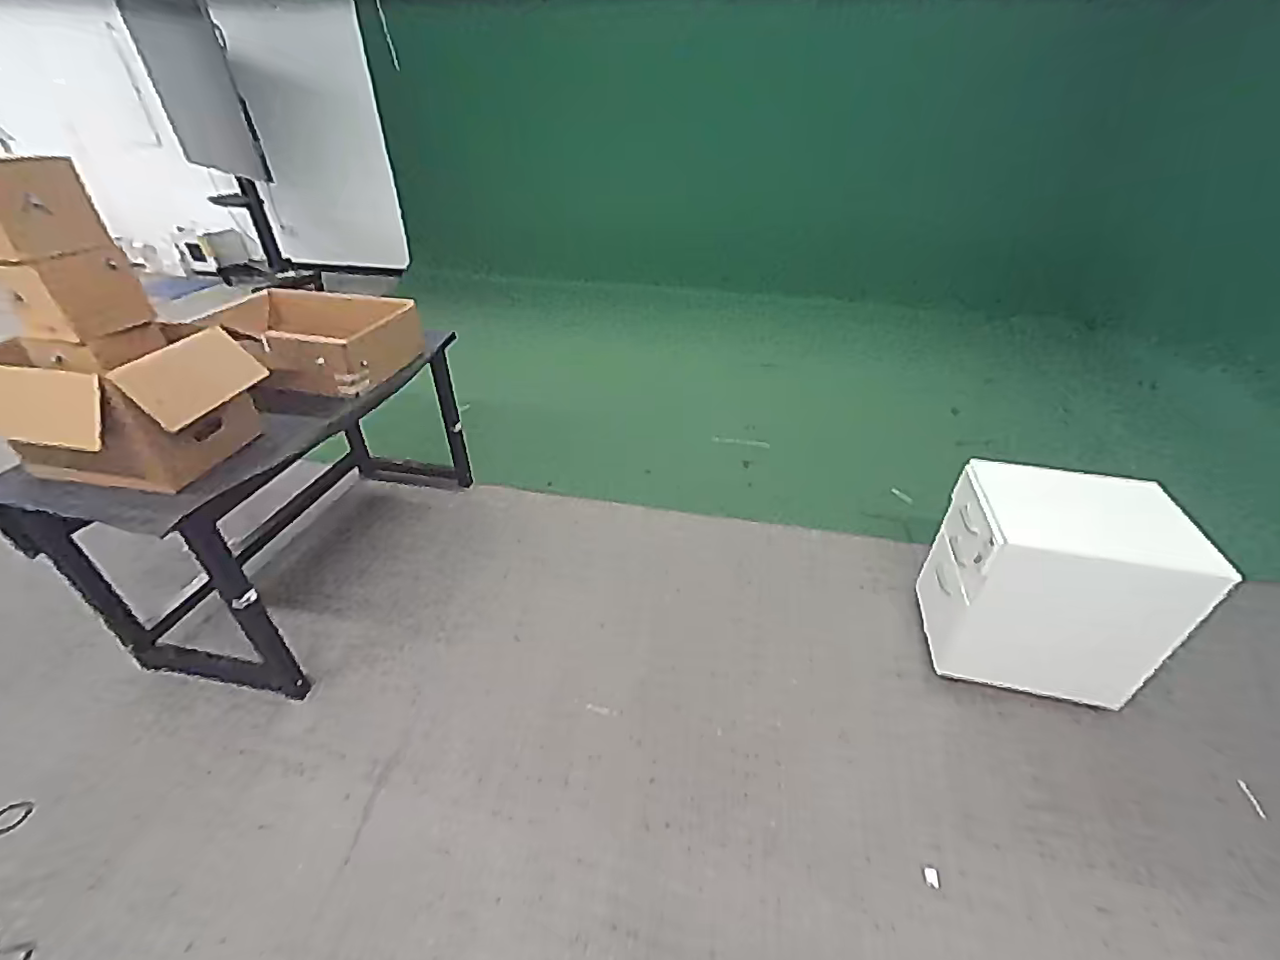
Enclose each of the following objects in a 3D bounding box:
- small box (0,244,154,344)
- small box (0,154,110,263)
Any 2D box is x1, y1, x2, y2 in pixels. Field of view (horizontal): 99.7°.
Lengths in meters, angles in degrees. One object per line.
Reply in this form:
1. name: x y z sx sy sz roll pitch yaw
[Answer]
1. small box: -1.225 -0.407 1.168 0.168 0.176 0.179 11 36 13
2. small box: -1.230 -0.537 1.067 0.168 0.176 0.179 10 37 12
